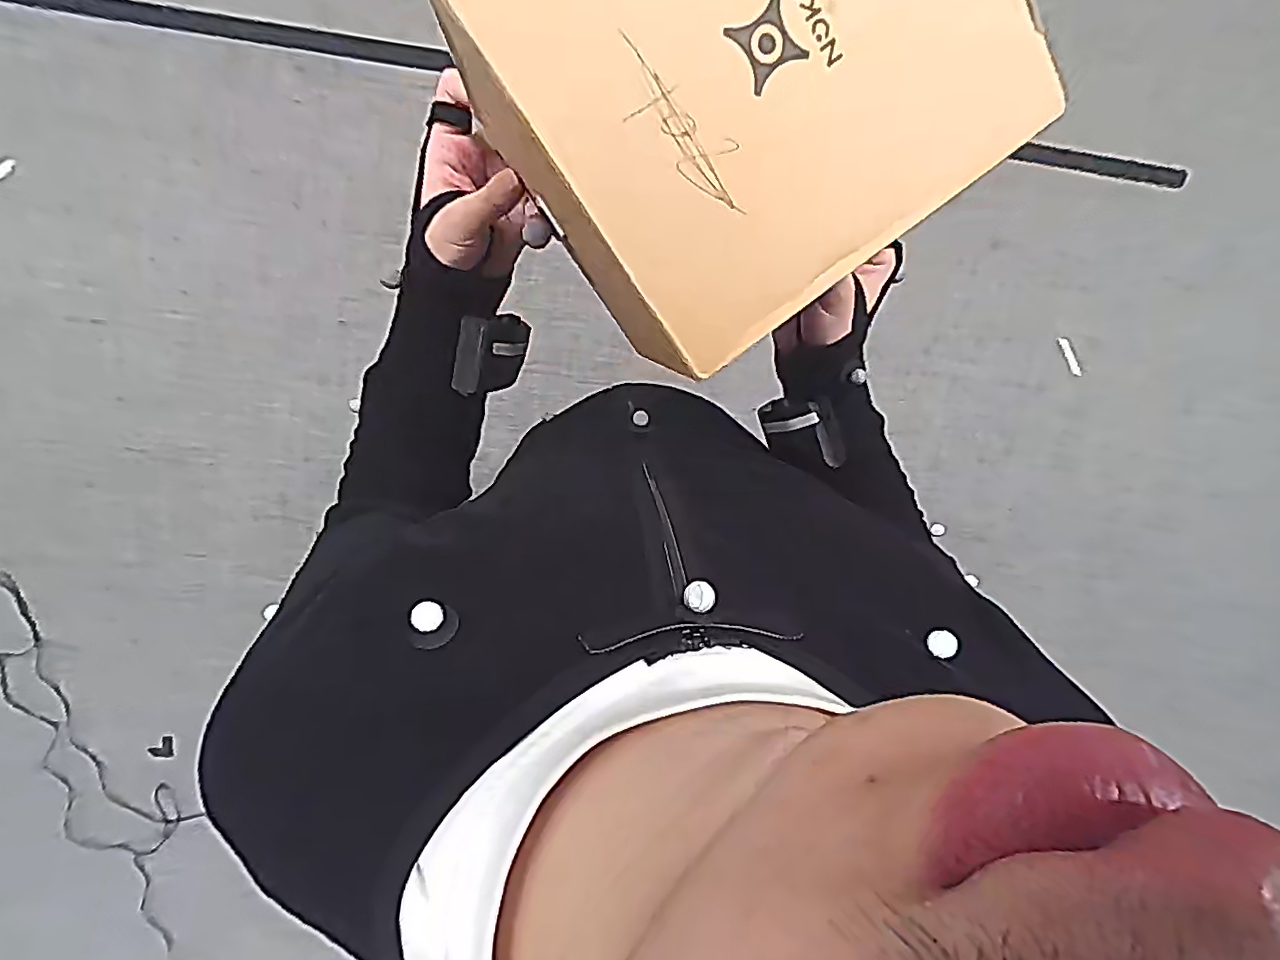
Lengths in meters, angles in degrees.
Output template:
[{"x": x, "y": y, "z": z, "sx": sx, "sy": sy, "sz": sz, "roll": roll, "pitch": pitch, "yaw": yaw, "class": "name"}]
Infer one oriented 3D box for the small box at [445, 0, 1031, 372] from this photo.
[{"x": 0.033, "y": -0.179, "z": 0.274, "sx": 0.179, "sy": 0.176, "sz": 0.168, "roll": -37, "pitch": 108, "yaw": 4, "class": "small box"}]
